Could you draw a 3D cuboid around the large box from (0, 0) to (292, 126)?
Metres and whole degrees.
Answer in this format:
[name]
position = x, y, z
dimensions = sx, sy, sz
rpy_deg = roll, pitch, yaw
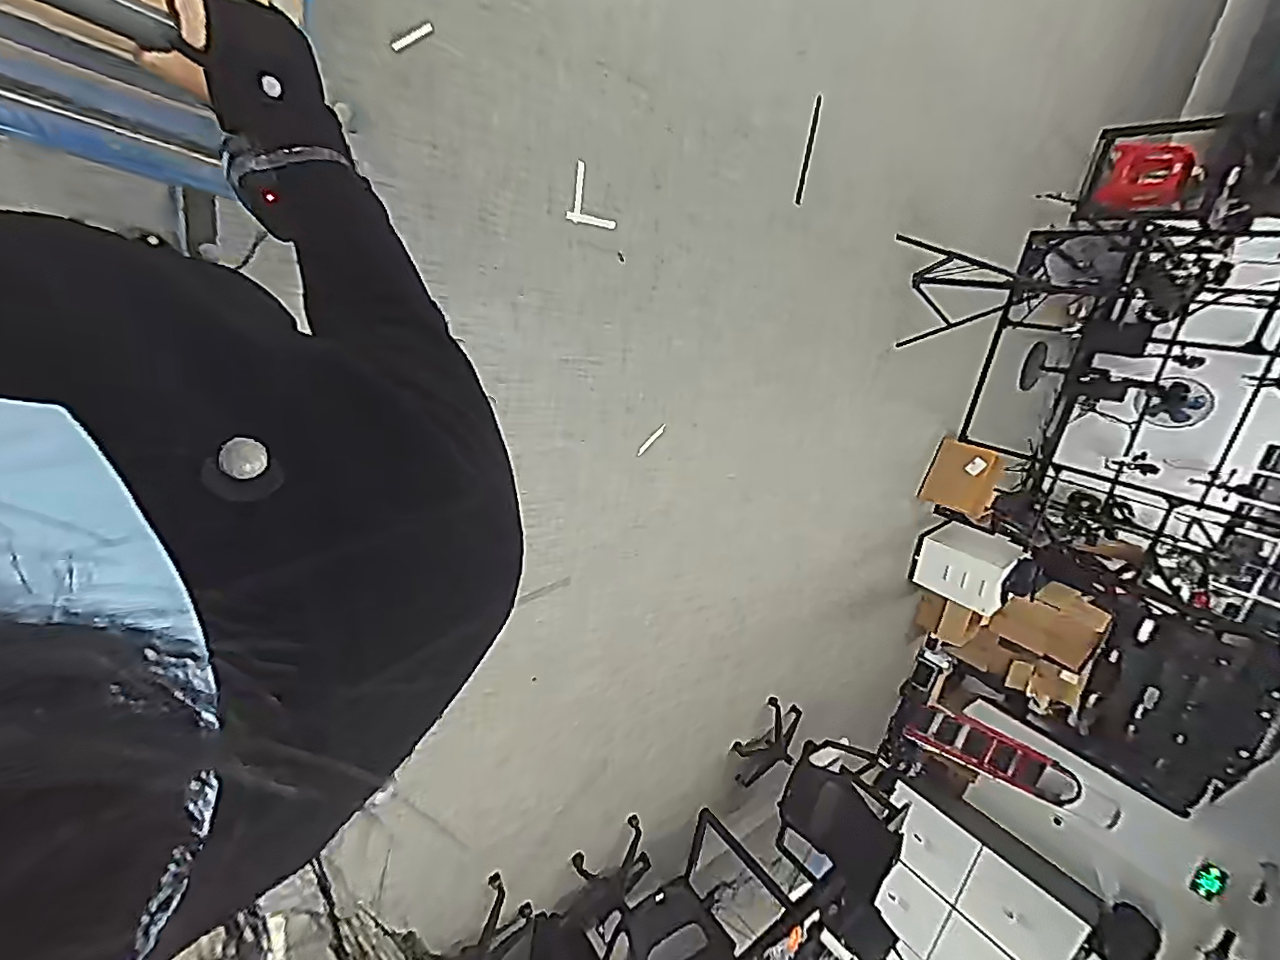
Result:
[large box]
position = -0.714, -0.719, 0.698
dimensions = 0.408, 0.320, 0.320
rpy_deg = -3, 112, -42
